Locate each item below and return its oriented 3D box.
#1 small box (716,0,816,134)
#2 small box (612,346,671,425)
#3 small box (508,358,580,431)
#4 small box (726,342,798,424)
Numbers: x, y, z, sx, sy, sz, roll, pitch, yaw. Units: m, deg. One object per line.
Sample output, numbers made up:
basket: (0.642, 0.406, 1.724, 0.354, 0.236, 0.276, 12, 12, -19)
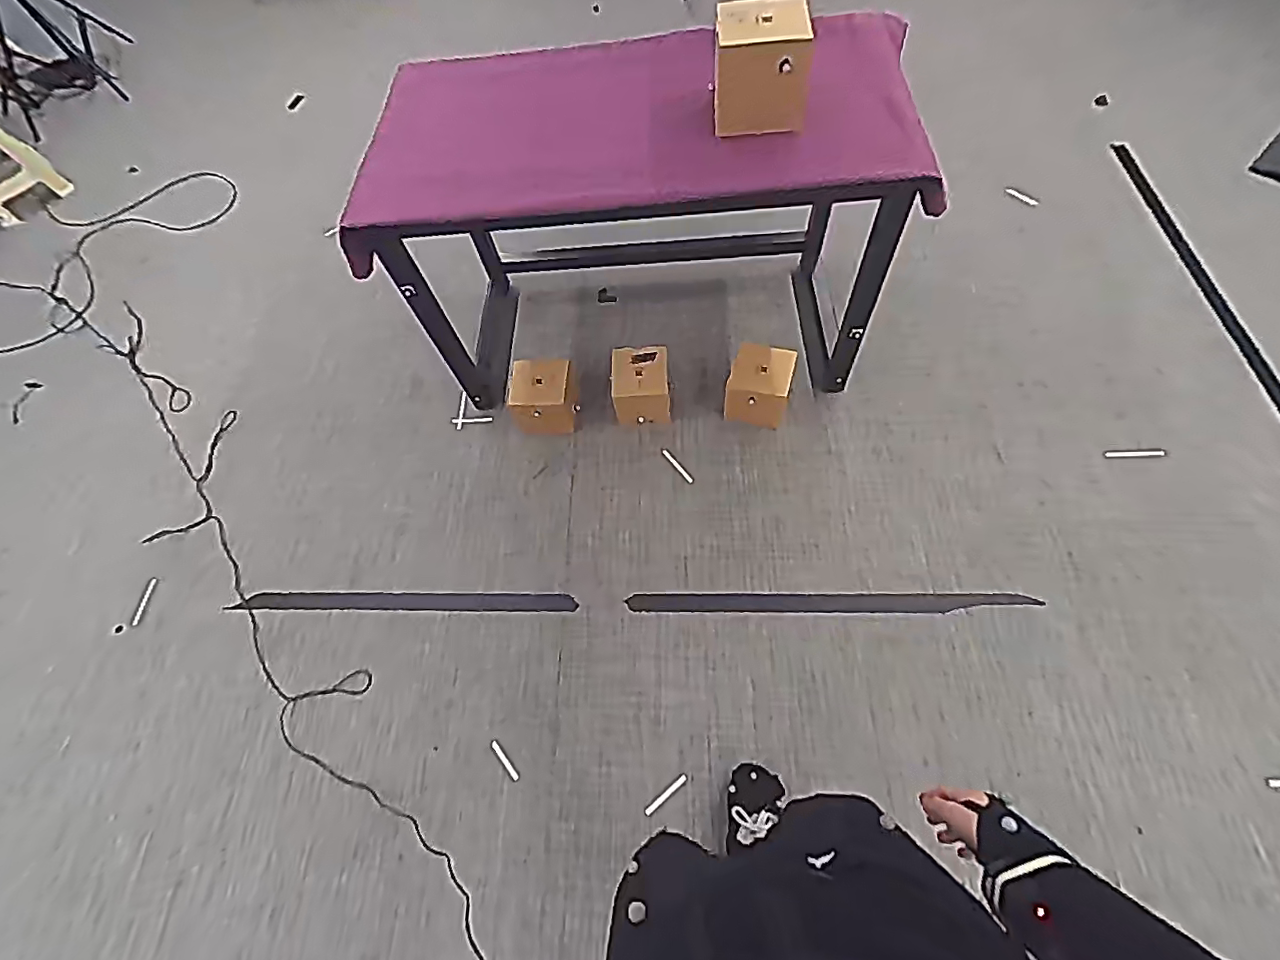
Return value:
small box: (0.245, -0.834, 1.093, 0.179, 0.176, 0.168, -1, 63, 7)
small box: (0.009, -0.289, 1.667, 0.168, 0.176, 0.179, -3, 64, 6)
small box: (-0.295, -0.264, 1.692, 0.179, 0.176, 0.168, 0, 65, 5)
small box: (0.363, -0.286, 1.626, 0.179, 0.176, 0.168, 13, 66, 14)
